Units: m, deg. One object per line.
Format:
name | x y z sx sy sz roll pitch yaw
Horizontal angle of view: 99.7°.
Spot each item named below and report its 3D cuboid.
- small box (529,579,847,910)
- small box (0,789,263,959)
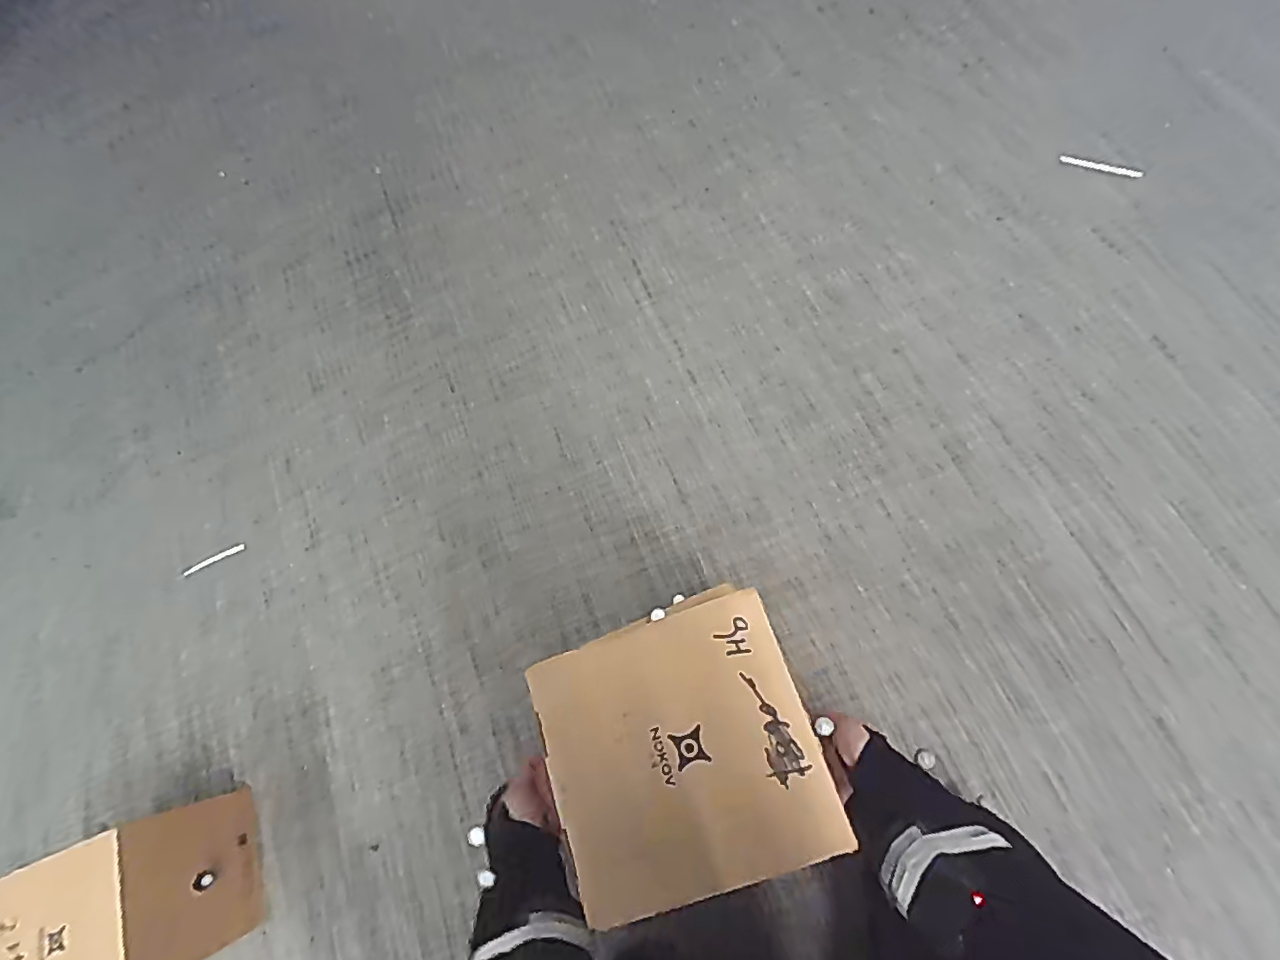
small box | 0.039 0.192 0.434 0.179 0.176 0.168 -21 72 5
small box | -0.589 0.499 0.646 0.179 0.176 0.168 -25 70 4
